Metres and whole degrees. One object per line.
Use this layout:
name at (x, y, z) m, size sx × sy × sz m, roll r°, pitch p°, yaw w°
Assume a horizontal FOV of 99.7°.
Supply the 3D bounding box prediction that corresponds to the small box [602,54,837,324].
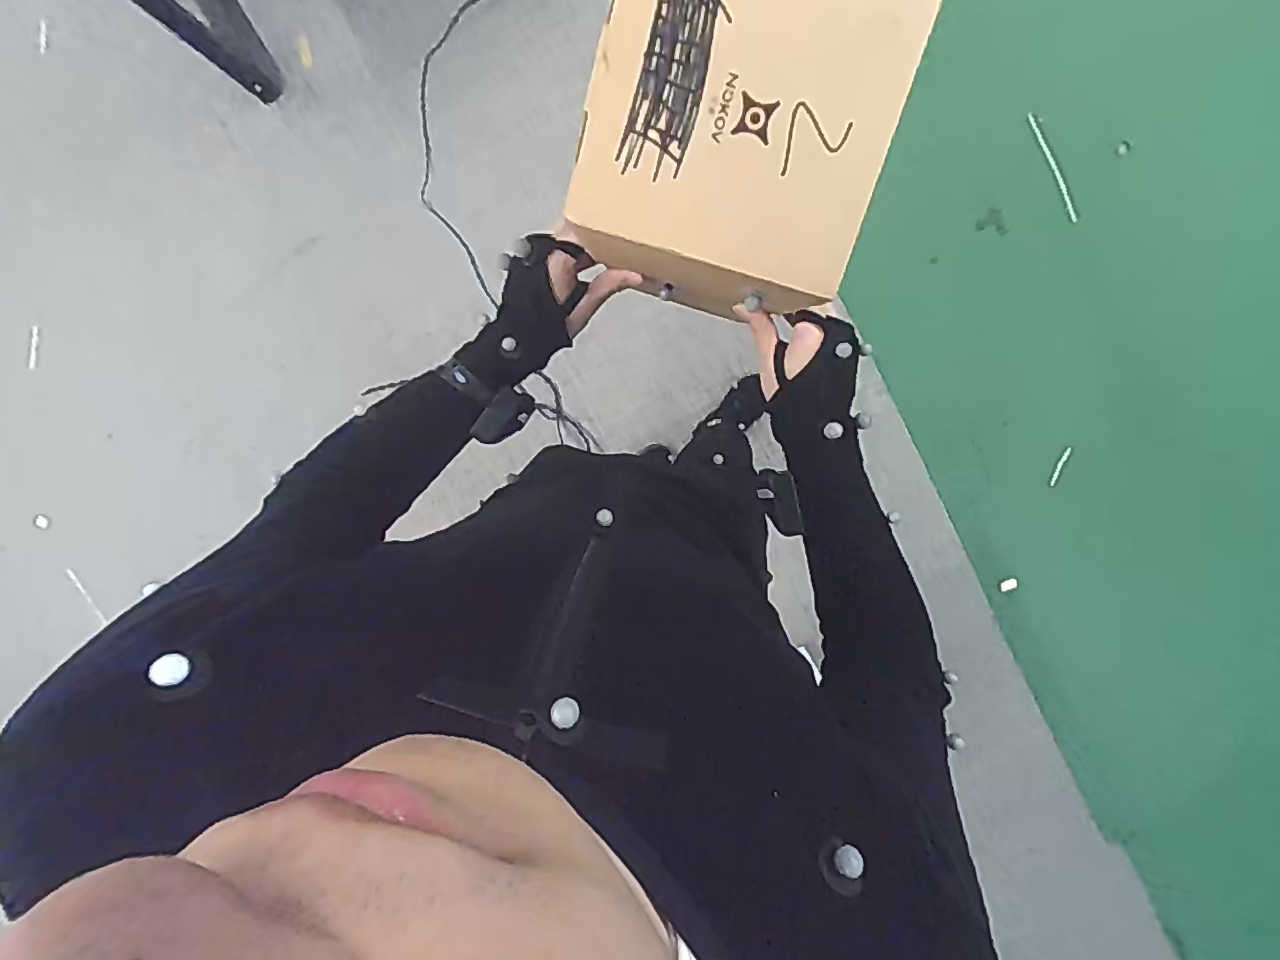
small box at (0.069, -0.270, 0.548) m, size 0.168 × 0.176 × 0.179 m, roll 17°, pitch 103°, yaw -1°
